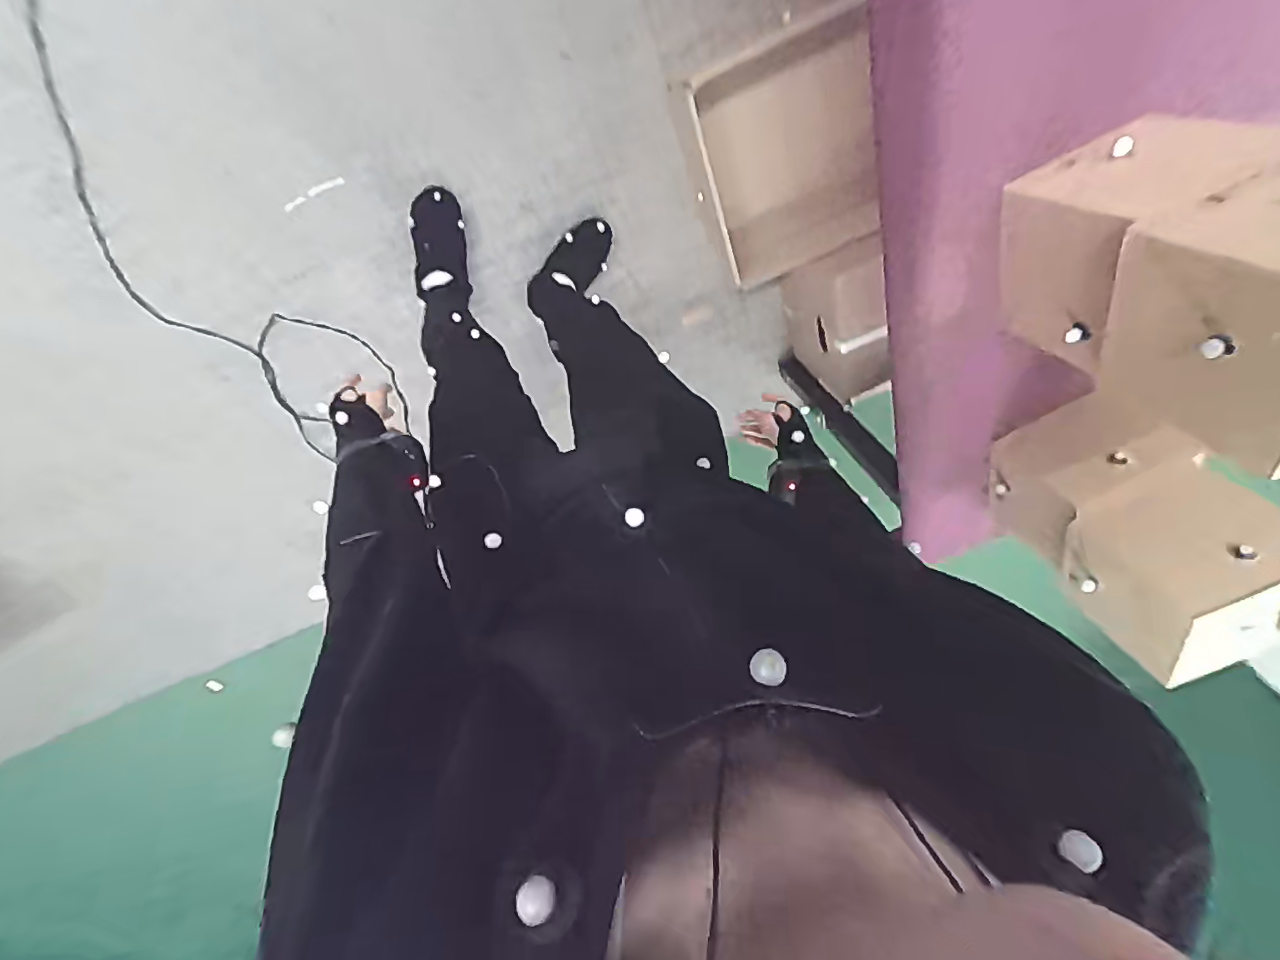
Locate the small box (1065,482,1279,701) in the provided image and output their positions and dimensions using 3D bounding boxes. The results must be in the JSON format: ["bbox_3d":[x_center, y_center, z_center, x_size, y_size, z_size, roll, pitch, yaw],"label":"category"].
[{"bbox_3d":[0.684,0.131,0.670,0.179,0.176,0.168,-26,126,5],"label":"small box"}]

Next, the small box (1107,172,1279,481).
[{"bbox_3d":[0.529,-0.134,0.434,0.168,0.176,0.179,-26,127,5],"label":"small box"}]

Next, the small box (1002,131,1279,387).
[{"bbox_3d":[0.514,-0.234,0.565,0.168,0.176,0.179,-25,127,4],"label":"small box"}]

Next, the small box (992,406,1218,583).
[{"bbox_3d":[0.656,0.020,0.789,0.179,0.176,0.168,-26,126,5],"label":"small box"}]
